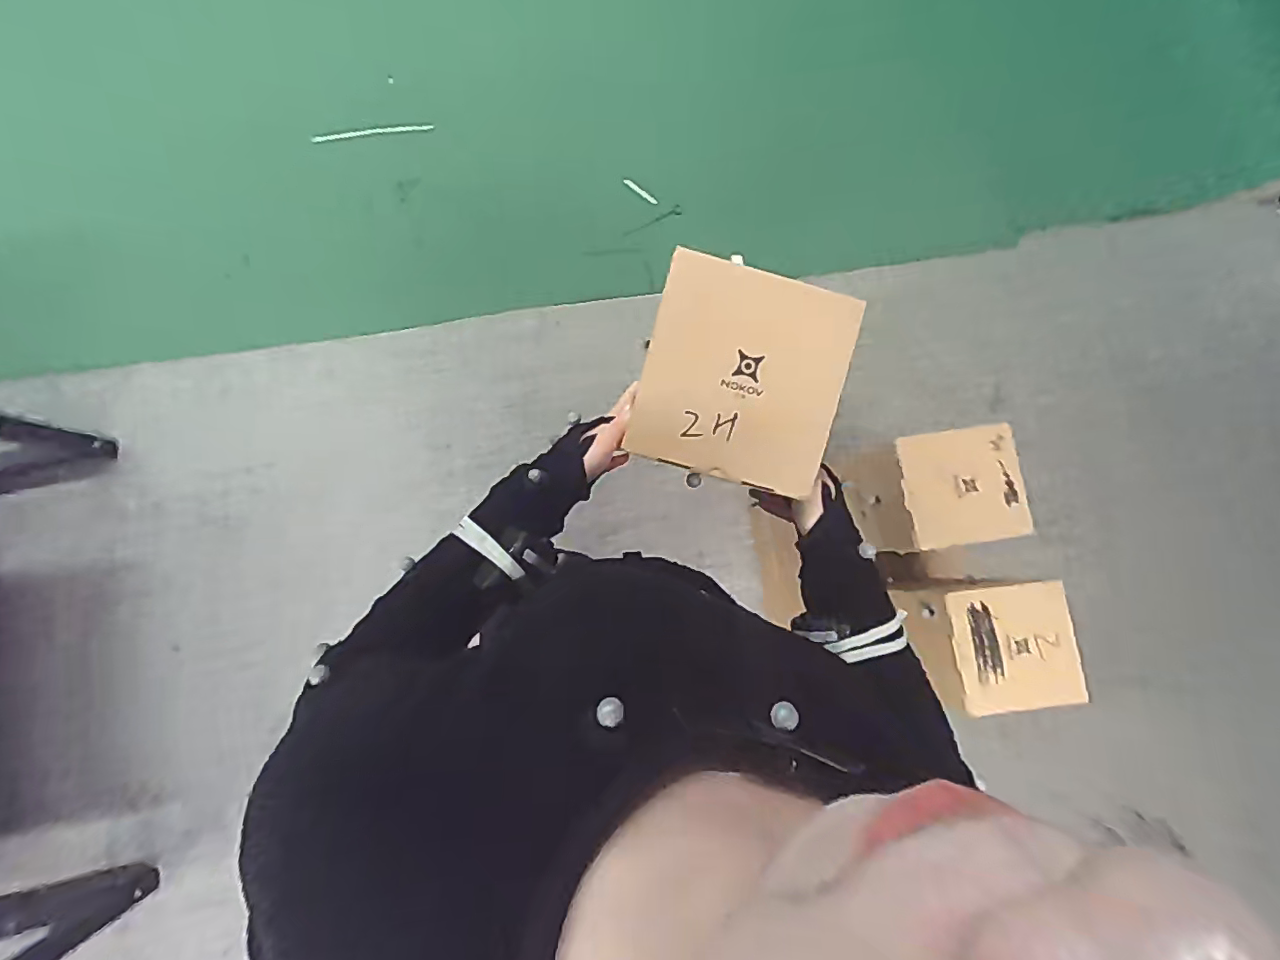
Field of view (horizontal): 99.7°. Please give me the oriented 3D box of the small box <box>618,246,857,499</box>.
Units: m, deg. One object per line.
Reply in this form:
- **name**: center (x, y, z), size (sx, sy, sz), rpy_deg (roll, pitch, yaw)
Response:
- **small box**: center (0.078, -0.092, 0.526), size (0.168, 0.176, 0.179), rpy_deg (15, 93, -1)

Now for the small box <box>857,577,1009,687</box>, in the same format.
- **small box**: center (0.513, 0.266, 0.979), size (0.179, 0.176, 0.168), rpy_deg (-5, 81, -4)

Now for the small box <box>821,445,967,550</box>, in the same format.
- **small box**: center (0.464, 0.036, 1.011), size (0.179, 0.176, 0.168), rpy_deg (-9, 83, -2)
